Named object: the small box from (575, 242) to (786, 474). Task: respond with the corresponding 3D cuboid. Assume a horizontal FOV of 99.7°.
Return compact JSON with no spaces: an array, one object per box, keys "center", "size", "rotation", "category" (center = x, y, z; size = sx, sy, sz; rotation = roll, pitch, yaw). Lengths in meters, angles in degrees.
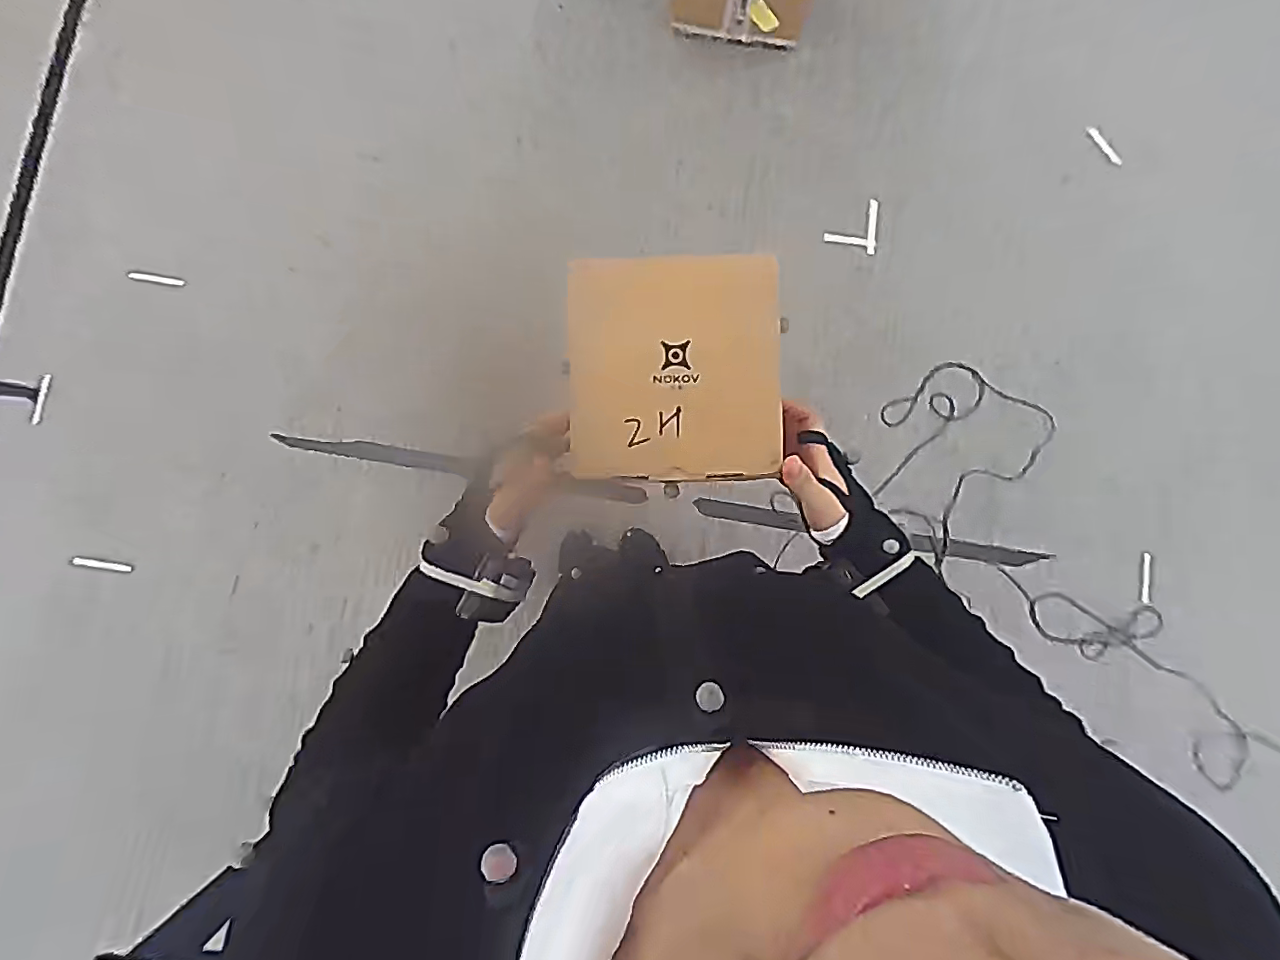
[{"center":[0.033,-0.097,0.501],"size":[0.168,0.176,0.179],"rotation":[0,89,2],"category":"small box"}]
